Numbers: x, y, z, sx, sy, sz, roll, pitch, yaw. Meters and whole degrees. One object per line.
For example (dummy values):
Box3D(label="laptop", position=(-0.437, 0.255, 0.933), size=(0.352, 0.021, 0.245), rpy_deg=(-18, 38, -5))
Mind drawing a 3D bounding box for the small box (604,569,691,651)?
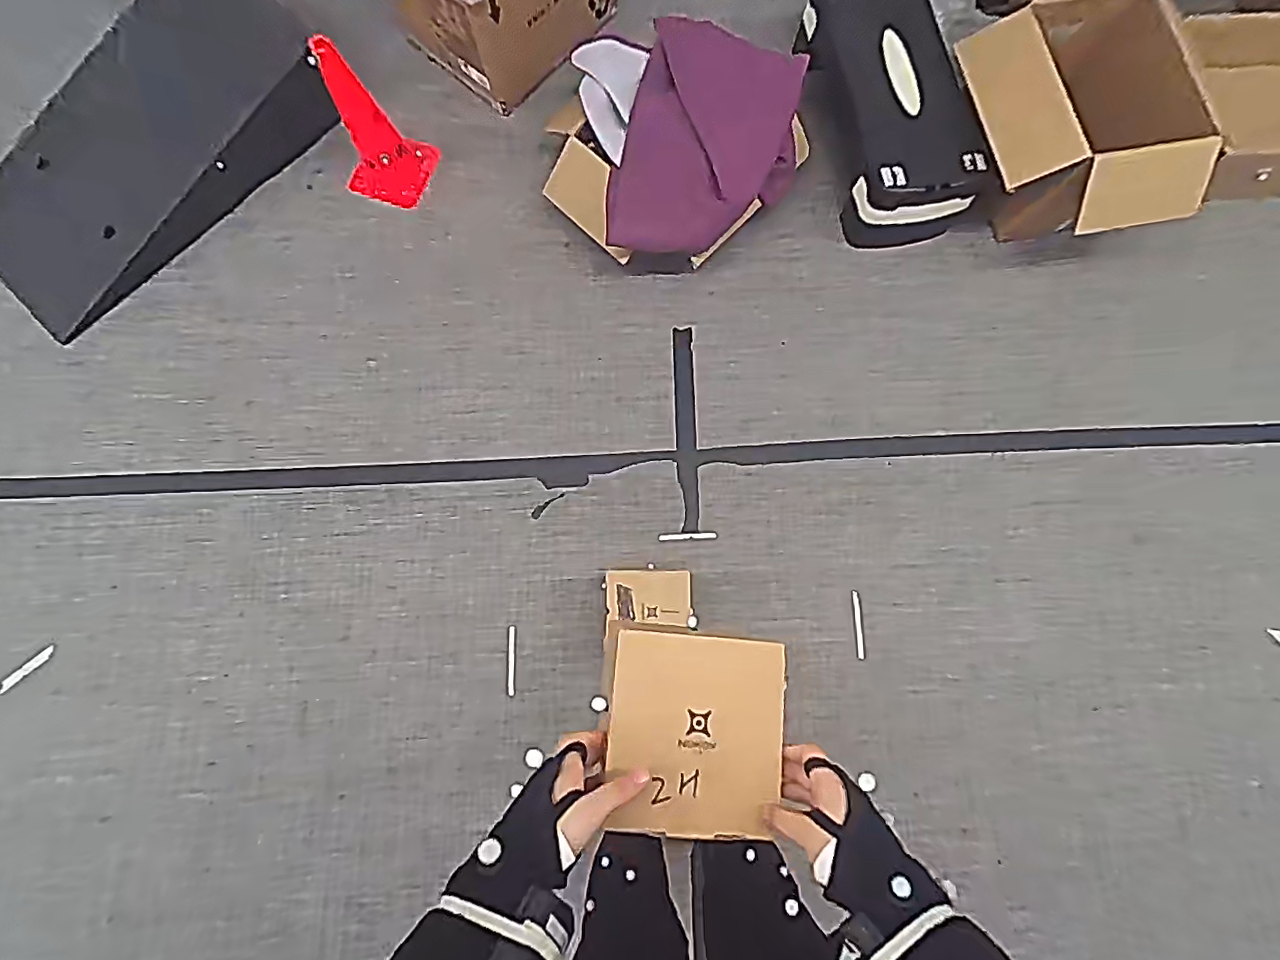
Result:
Box3D(label="small box", position=(0.015, 0.281, 1.169), size=(0.179, 0.176, 0.168), rpy_deg=(1, 80, -1))

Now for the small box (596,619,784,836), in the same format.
Box3D(label="small box", position=(0.044, 0.248, 0.585), size=(0.168, 0.176, 0.179), rpy_deg=(7, 78, -5))
